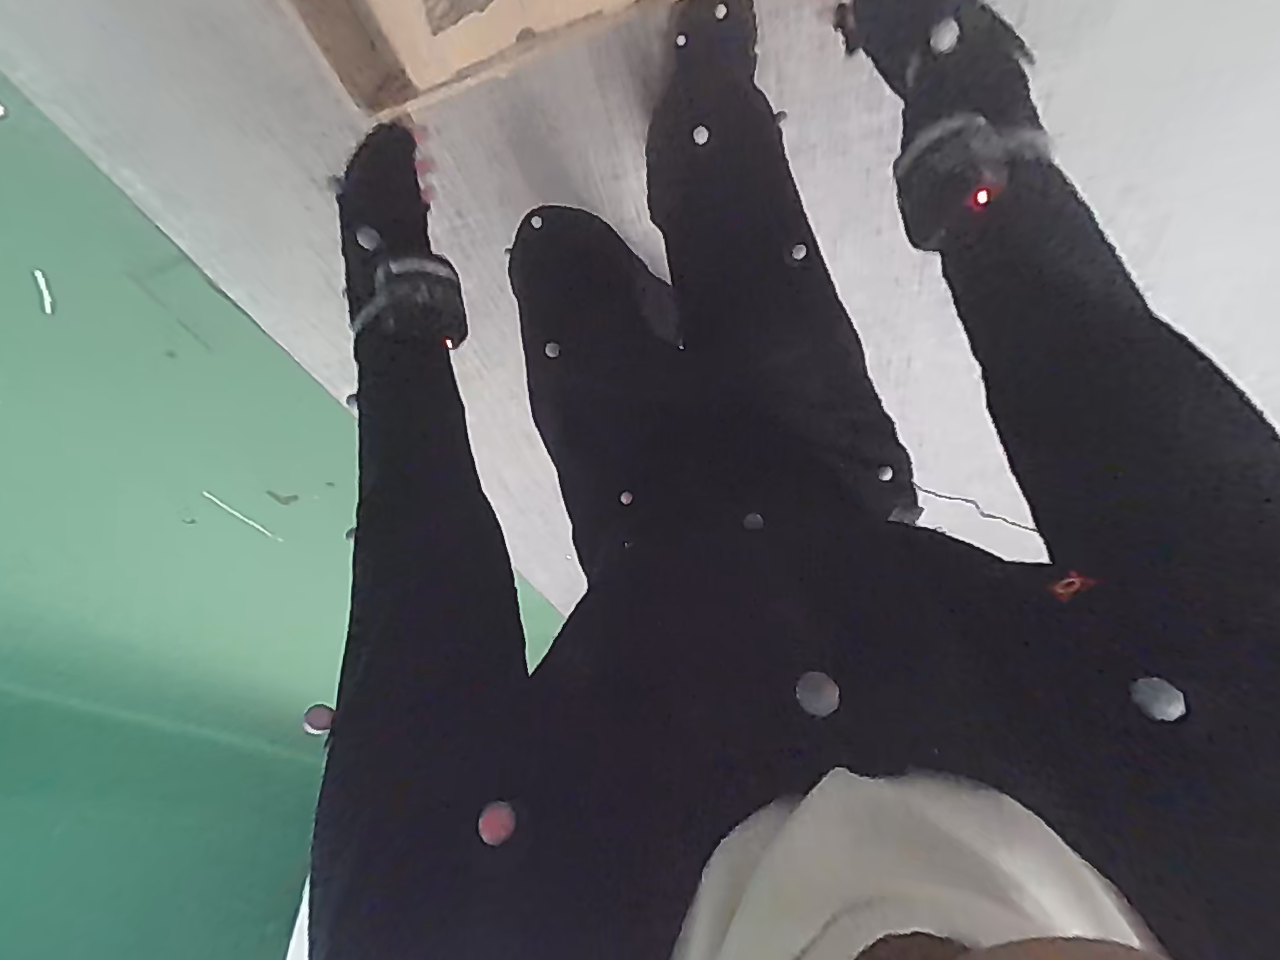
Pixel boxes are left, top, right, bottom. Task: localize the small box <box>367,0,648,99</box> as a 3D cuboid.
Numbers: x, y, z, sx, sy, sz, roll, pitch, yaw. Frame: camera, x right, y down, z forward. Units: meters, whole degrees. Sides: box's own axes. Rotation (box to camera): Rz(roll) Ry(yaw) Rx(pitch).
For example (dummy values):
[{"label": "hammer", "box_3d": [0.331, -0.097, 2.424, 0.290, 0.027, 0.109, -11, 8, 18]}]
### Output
[{"label": "small box", "box_3d": [-0.094, -0.384, 0.330, 0.168, 0.176, 0.179, -11, 140, 14]}]
